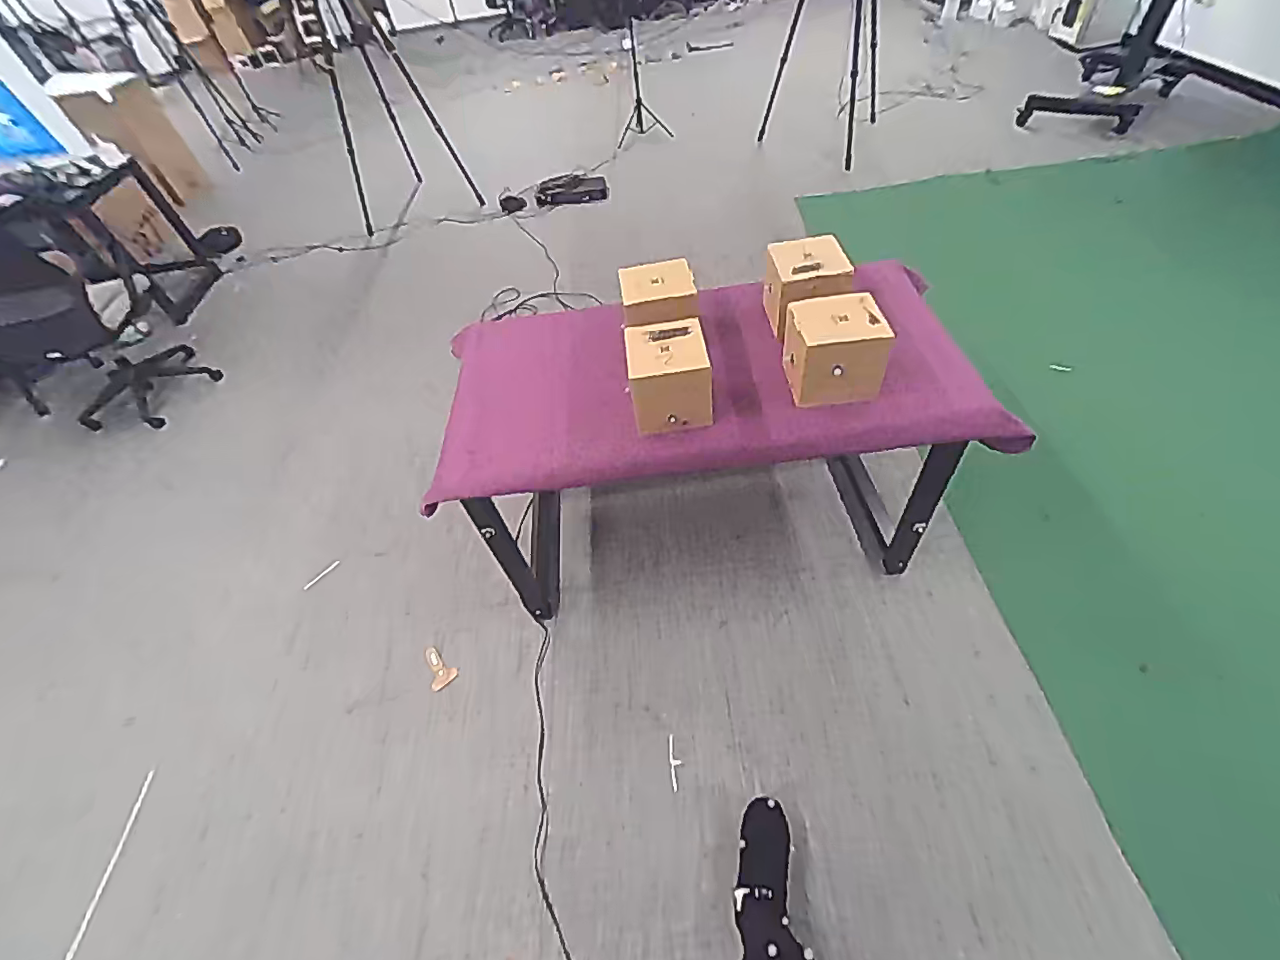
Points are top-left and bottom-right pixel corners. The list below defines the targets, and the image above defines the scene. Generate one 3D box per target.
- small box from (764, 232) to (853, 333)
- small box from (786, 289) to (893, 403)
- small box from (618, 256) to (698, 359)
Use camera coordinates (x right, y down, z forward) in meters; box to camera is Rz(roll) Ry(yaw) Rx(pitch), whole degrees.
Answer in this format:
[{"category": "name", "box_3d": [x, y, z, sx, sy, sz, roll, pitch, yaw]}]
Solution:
[{"category": "small box", "box_3d": [0.403, -0.475, 1.323, 0.168, 0.176, 0.179, -7, 50, 4]}, {"category": "small box", "box_3d": [0.416, -0.282, 1.162, 0.179, 0.176, 0.168, -7, 50, 5]}, {"category": "small box", "box_3d": [0.048, -0.426, 1.343, 0.179, 0.176, 0.168, -9, 50, 3]}]
